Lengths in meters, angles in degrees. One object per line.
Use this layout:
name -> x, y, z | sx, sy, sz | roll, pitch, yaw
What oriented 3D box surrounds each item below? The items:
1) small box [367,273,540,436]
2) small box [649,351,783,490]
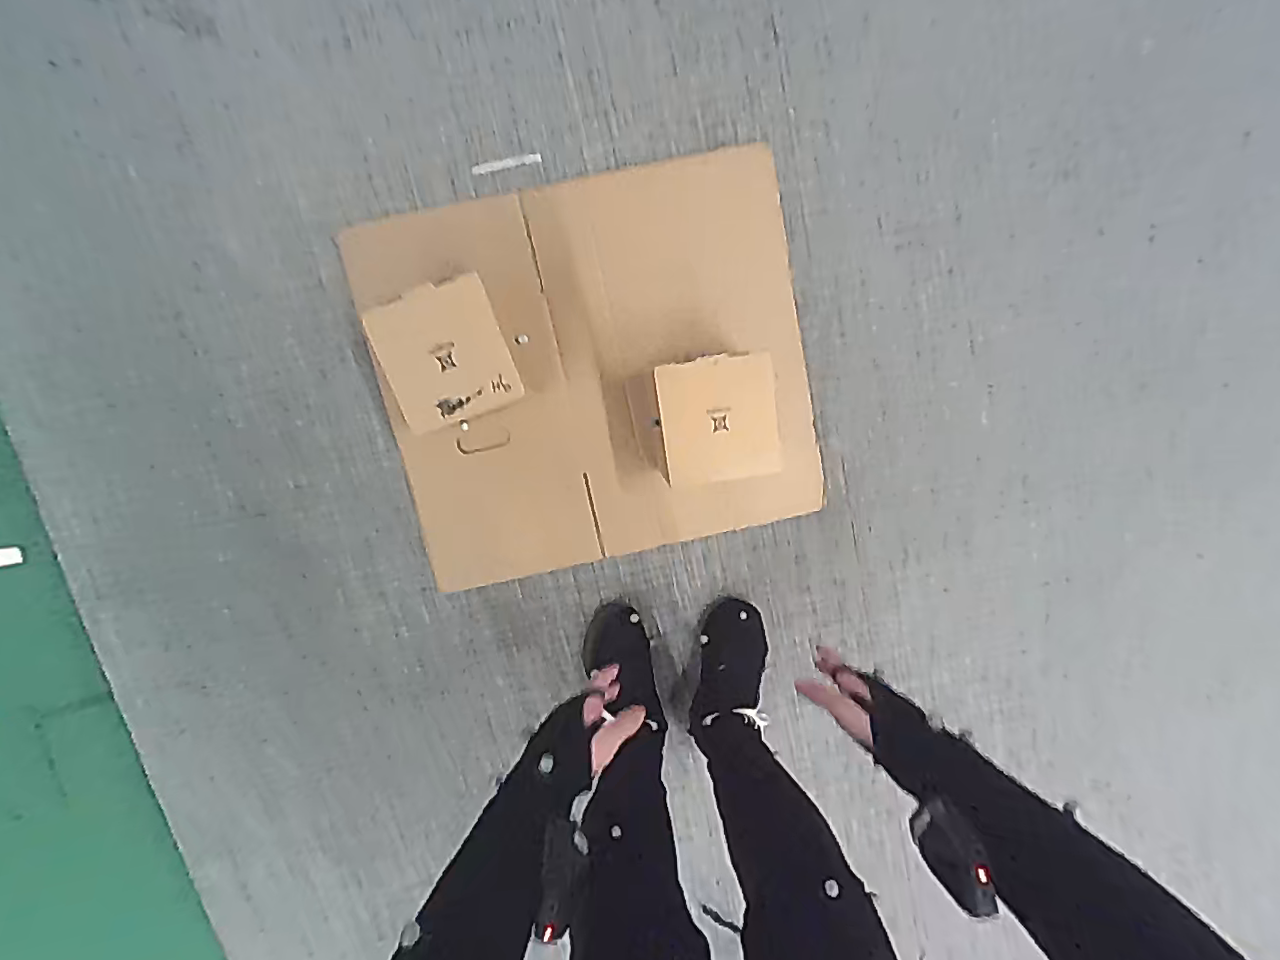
small box -> -0.259, -0.175, 0.797 | 0.168, 0.176, 0.179 | -20, 99, 0
small box -> 0.109, -0.093, 0.829 | 0.168, 0.176, 0.179 | -9, 99, -1
